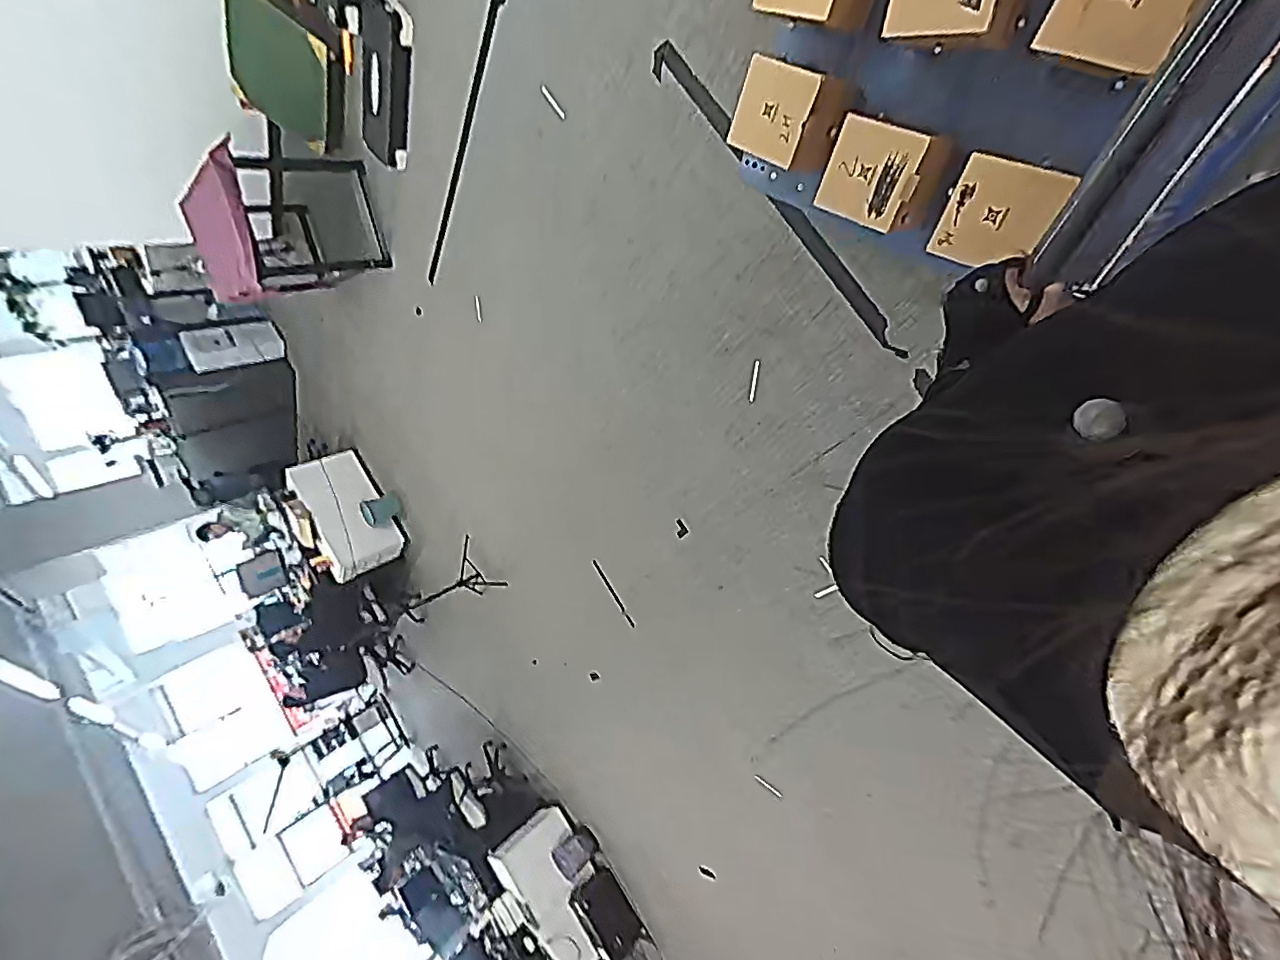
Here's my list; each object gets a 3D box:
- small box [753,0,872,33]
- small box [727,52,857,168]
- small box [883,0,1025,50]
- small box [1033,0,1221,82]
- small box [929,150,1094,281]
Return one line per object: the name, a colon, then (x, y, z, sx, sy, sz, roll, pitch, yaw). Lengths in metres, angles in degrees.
small box: (0.353, -0.981, 1.035, 0.179, 0.176, 0.168, 37, 133, 28)
small box: (0.326, -0.786, 1.163, 0.179, 0.176, 0.168, 40, 135, 24)
small box: (0.546, -0.839, 0.906, 0.179, 0.176, 0.168, 29, 129, 34)
small box: (0.730, -0.703, 0.787, 0.179, 0.176, 0.168, 40, 134, 26)
small box: (0.667, -0.477, 0.970, 0.179, 0.176, 0.168, 36, 132, 28)
